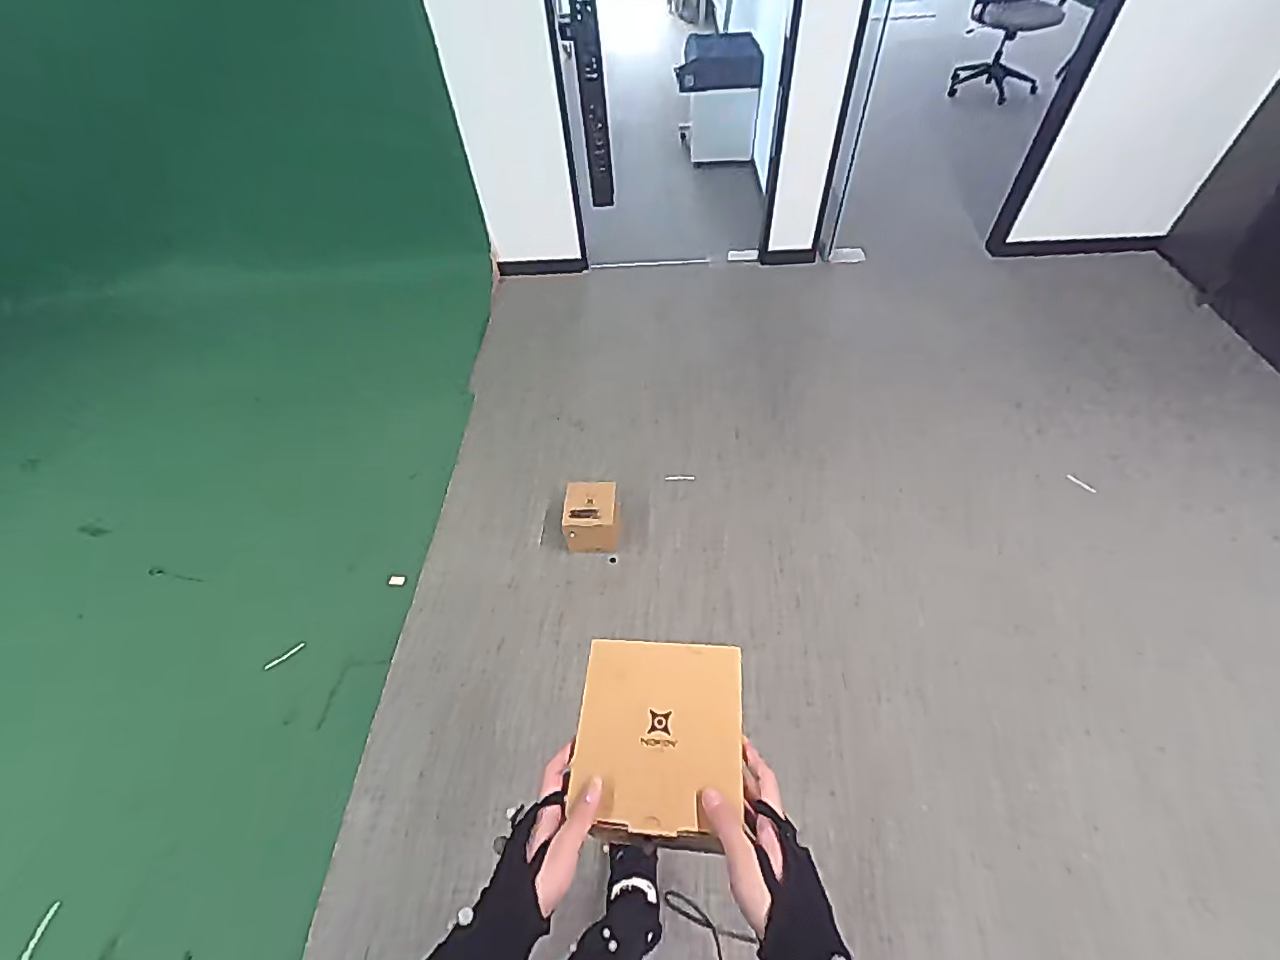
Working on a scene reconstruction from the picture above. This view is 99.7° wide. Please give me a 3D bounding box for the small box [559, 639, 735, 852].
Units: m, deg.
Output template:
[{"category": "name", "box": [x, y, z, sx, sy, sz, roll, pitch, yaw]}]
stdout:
[{"category": "small box", "box": [0.020, 0.298, 0.607, 0.168, 0.176, 0.179, 1, 52, 9]}]
